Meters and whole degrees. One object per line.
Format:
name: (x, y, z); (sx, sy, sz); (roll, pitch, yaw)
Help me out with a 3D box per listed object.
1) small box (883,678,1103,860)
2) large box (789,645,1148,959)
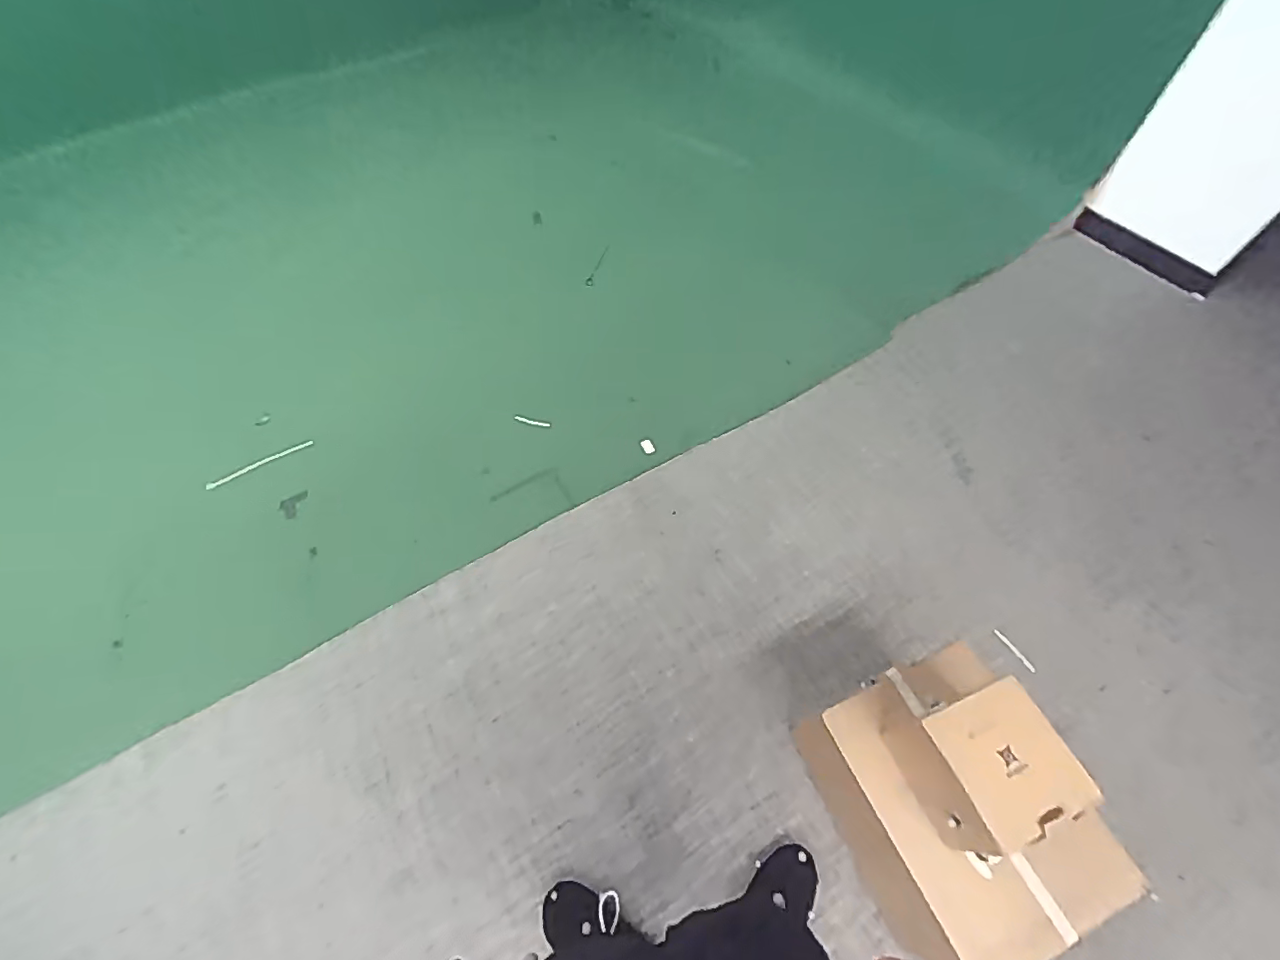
small box: (0.502, 0.424, 0.800); (0.168, 0.176, 0.179); (-21, 59, -11)
large box: (0.535, 0.579, 0.988); (0.320, 0.320, 0.408); (-23, 61, -10)
